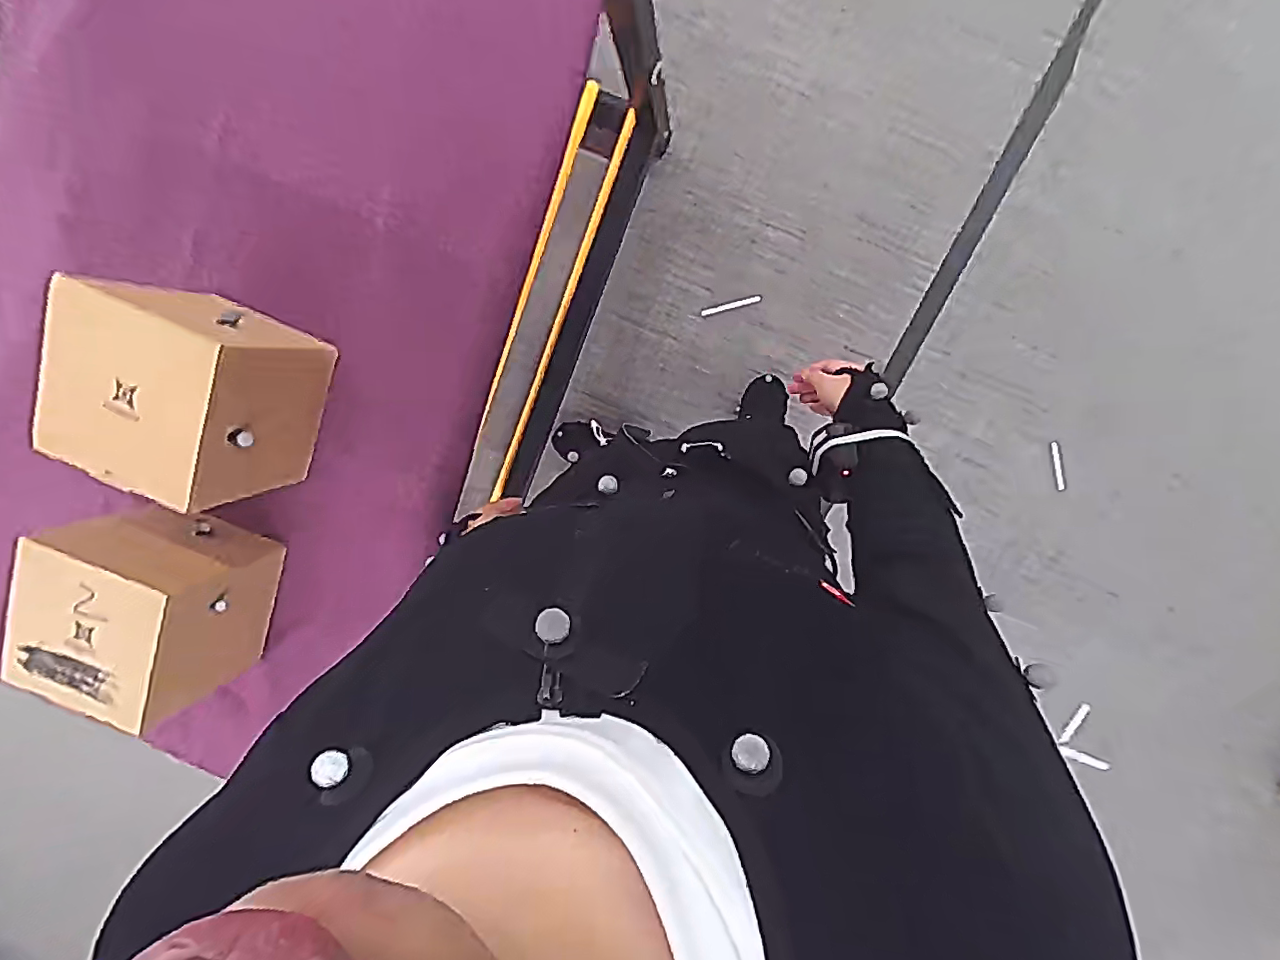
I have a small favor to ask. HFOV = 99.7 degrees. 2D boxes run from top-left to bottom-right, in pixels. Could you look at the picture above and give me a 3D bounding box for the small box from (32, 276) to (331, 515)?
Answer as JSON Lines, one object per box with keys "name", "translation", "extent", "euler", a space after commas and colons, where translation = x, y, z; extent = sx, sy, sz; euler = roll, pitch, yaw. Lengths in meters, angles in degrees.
{"name": "small box", "translation": [-0.468, -0.091, 0.577], "extent": [0.168, 0.176, 0.179], "euler": [23, 104, 1]}
